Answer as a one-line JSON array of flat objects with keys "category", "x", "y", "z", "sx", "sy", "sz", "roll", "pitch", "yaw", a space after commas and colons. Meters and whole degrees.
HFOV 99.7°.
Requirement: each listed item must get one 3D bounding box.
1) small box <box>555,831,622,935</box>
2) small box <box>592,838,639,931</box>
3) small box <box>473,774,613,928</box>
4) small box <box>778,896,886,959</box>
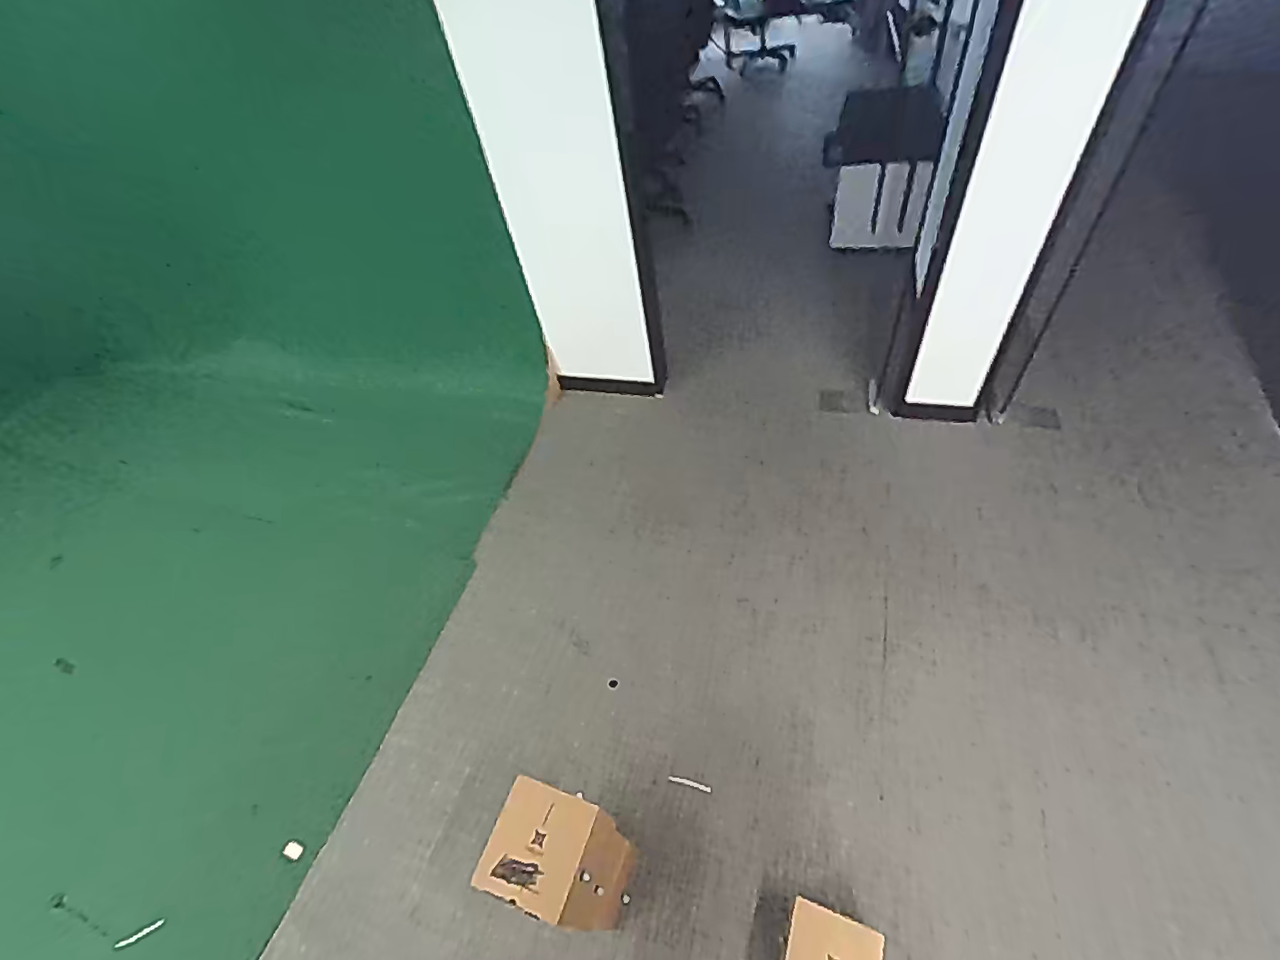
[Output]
[{"category": "small box", "x": -0.148, "y": 0.776, "z": 1.091, "sx": 0.168, "sy": 0.176, "sz": 0.179, "roll": 12, "pitch": 54, "yaw": 20}, {"category": "small box", "x": -0.119, "y": 0.879, "z": 1.214, "sx": 0.179, "sy": 0.176, "sz": 0.168, "roll": 13, "pitch": 54, "yaw": 20}, {"category": "small box", "x": -0.160, "y": 0.666, "z": 0.969, "sx": 0.168, "sy": 0.176, "sz": 0.179, "roll": 11, "pitch": 53, "yaw": 20}, {"category": "small box", "x": 0.360, "y": 0.957, "z": 1.052, "sx": 0.168, "sy": 0.176, "sz": 0.179, "roll": 17, "pitch": 56, "yaw": 26}]
